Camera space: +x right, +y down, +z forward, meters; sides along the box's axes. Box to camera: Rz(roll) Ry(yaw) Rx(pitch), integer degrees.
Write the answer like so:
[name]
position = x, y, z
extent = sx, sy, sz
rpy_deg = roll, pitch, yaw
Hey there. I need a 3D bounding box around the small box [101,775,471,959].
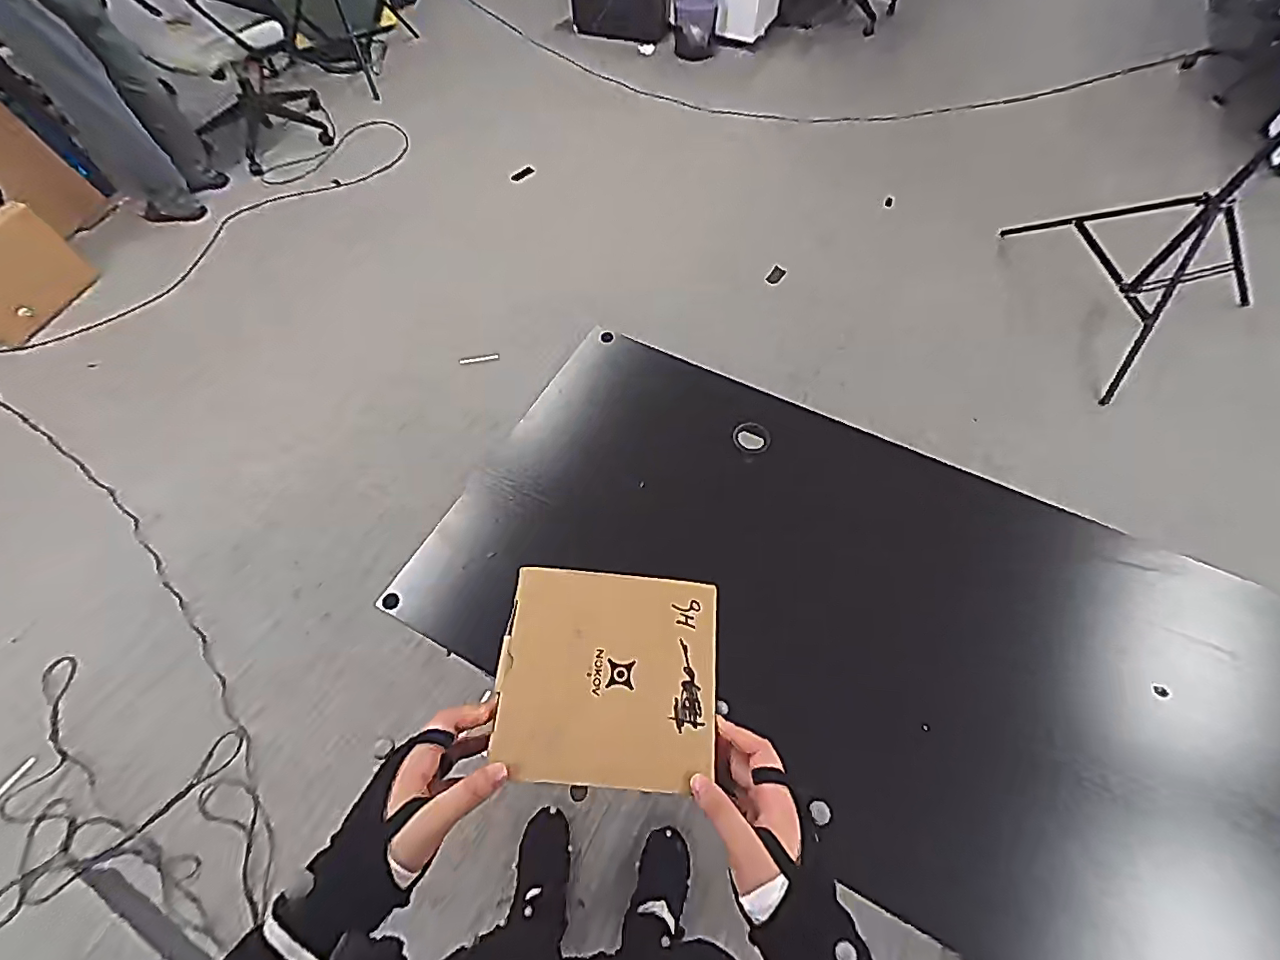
[small box]
position = -0.231, 0.333, 0.352
extent = 0.179, 0.168, 0.176
rpy_deg = 0, 45, -43
